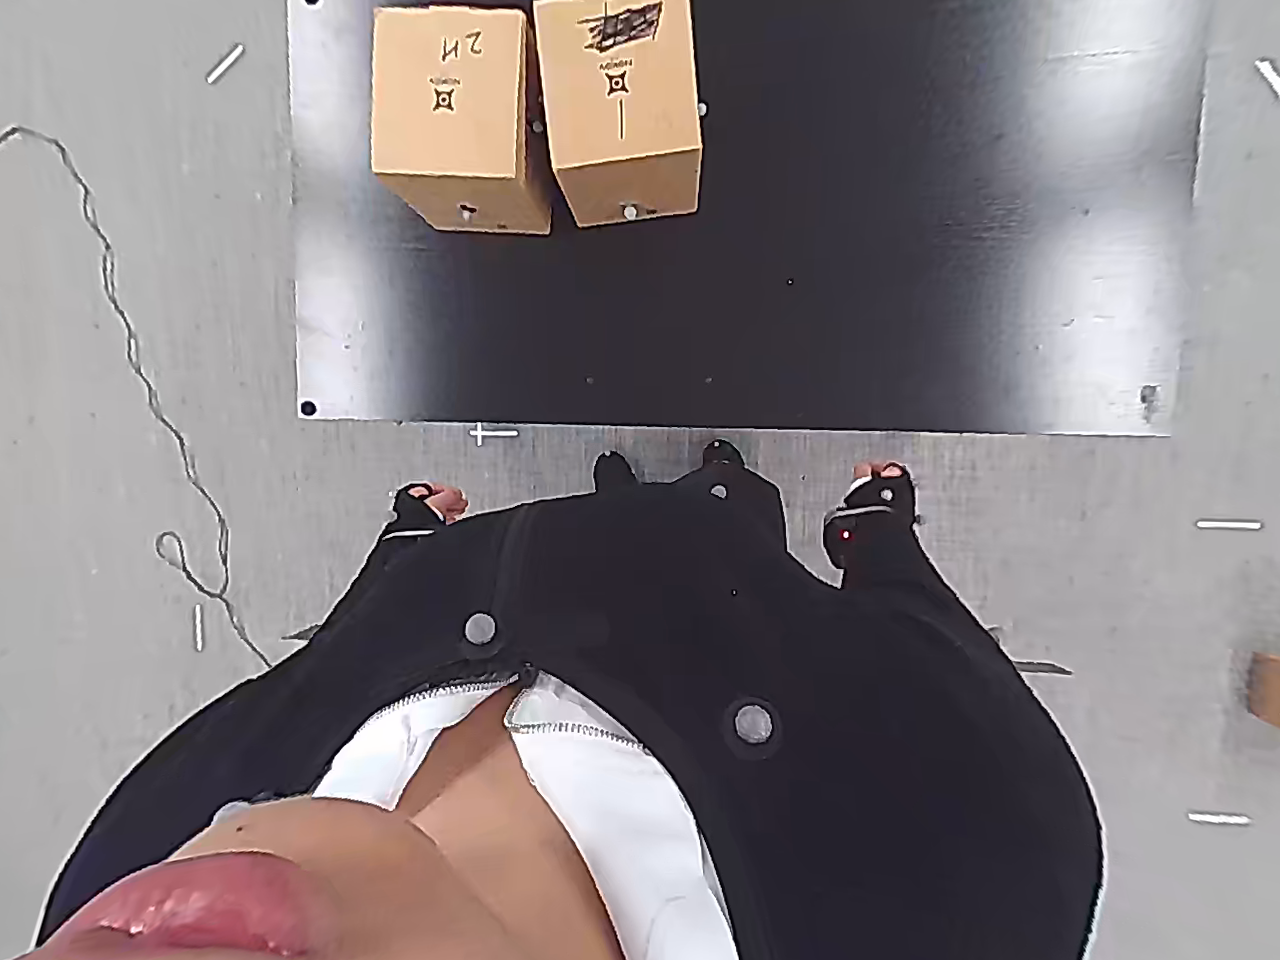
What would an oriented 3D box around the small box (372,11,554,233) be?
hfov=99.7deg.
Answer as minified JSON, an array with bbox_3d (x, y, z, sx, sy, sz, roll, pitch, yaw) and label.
[{"bbox_3d":[-0.207,-0.425,0.671,0.168,0.176,0.179,4,94,3],"label":"small box"}]

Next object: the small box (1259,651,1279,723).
[{"bbox_3d":[1.688,0.537,1.321,0.168,0.176,0.179,0,93,4],"label":"small box"}]
